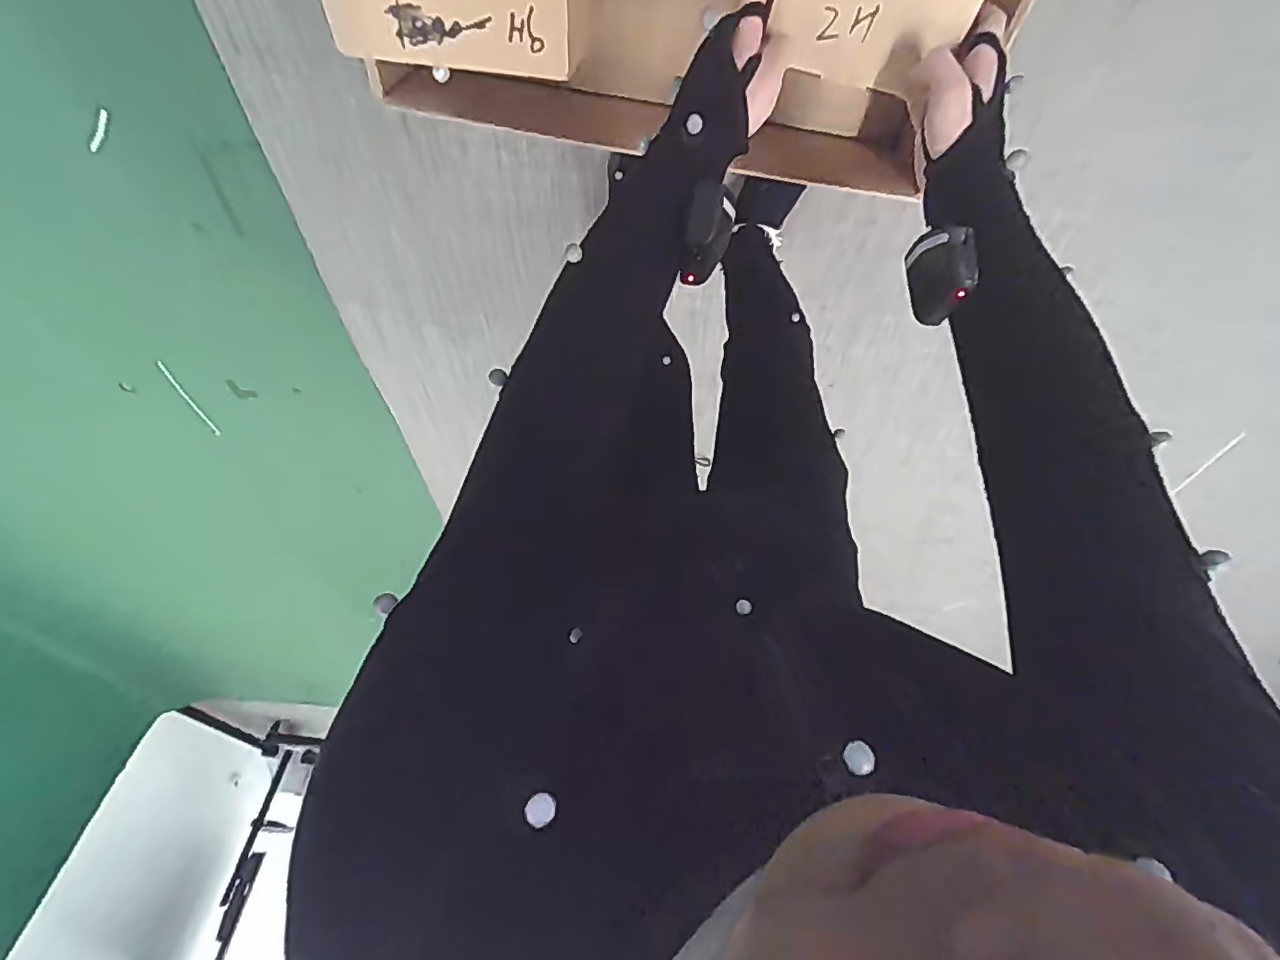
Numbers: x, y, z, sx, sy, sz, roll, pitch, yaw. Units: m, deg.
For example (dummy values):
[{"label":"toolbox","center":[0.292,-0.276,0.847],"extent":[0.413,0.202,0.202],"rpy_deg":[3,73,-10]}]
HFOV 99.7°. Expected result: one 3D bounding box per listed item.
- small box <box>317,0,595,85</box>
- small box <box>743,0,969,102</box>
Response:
[{"label":"small box","center":[-0.125,-0.410,0.375],"extent":[0.168,0.176,0.179],"rpy_deg":[8,141,2]},{"label":"small box","center":[0.191,-0.470,0.464],"extent":[0.168,0.176,0.179],"rpy_deg":[10,142,-5]}]
